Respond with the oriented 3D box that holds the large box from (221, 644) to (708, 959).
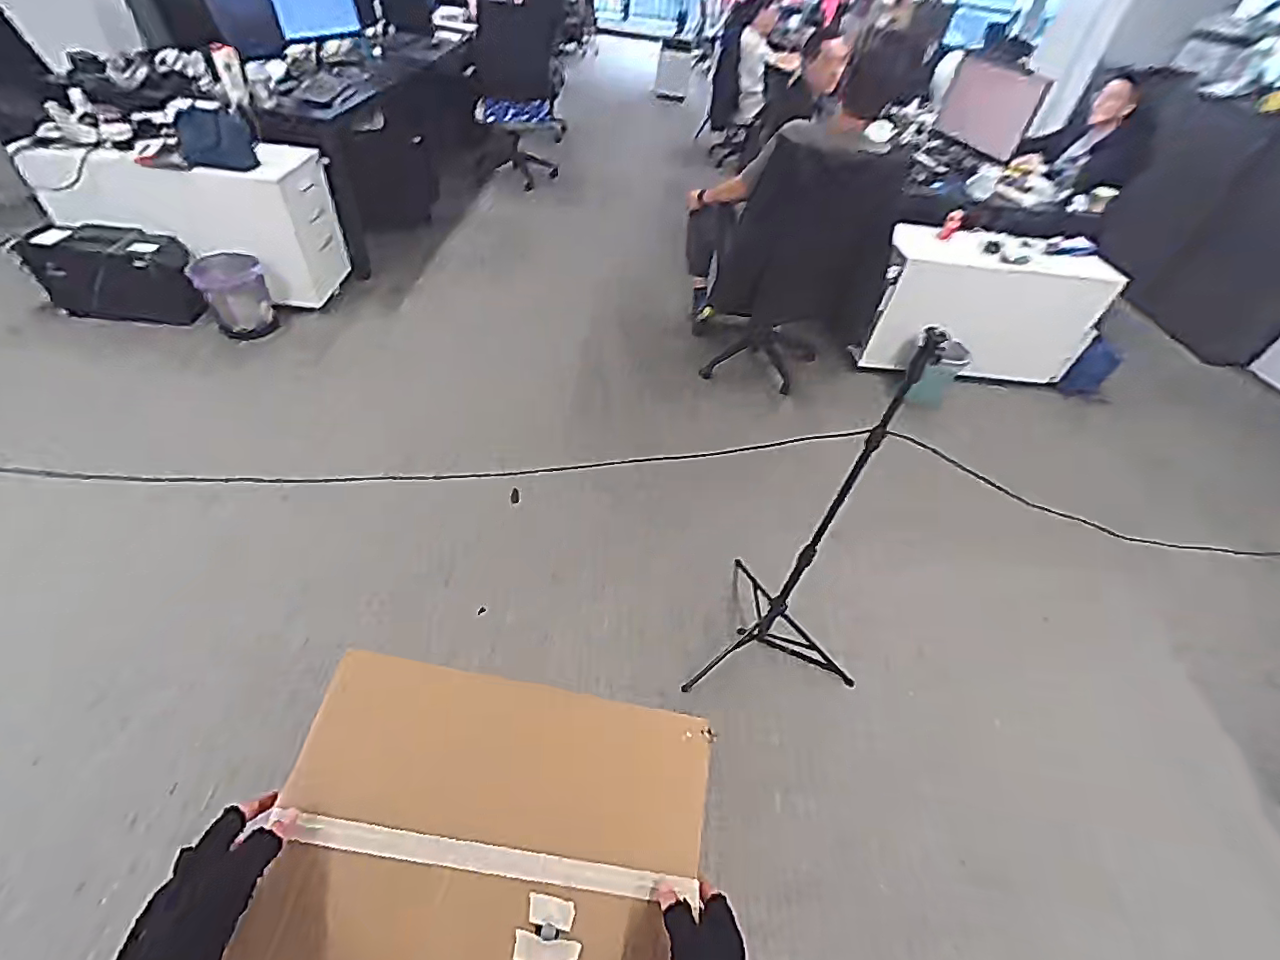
[{"bbox_3d":[-0.165,0.420,0.643,0.408,0.320,0.320,14,58,-4],"label":"large box"}]
